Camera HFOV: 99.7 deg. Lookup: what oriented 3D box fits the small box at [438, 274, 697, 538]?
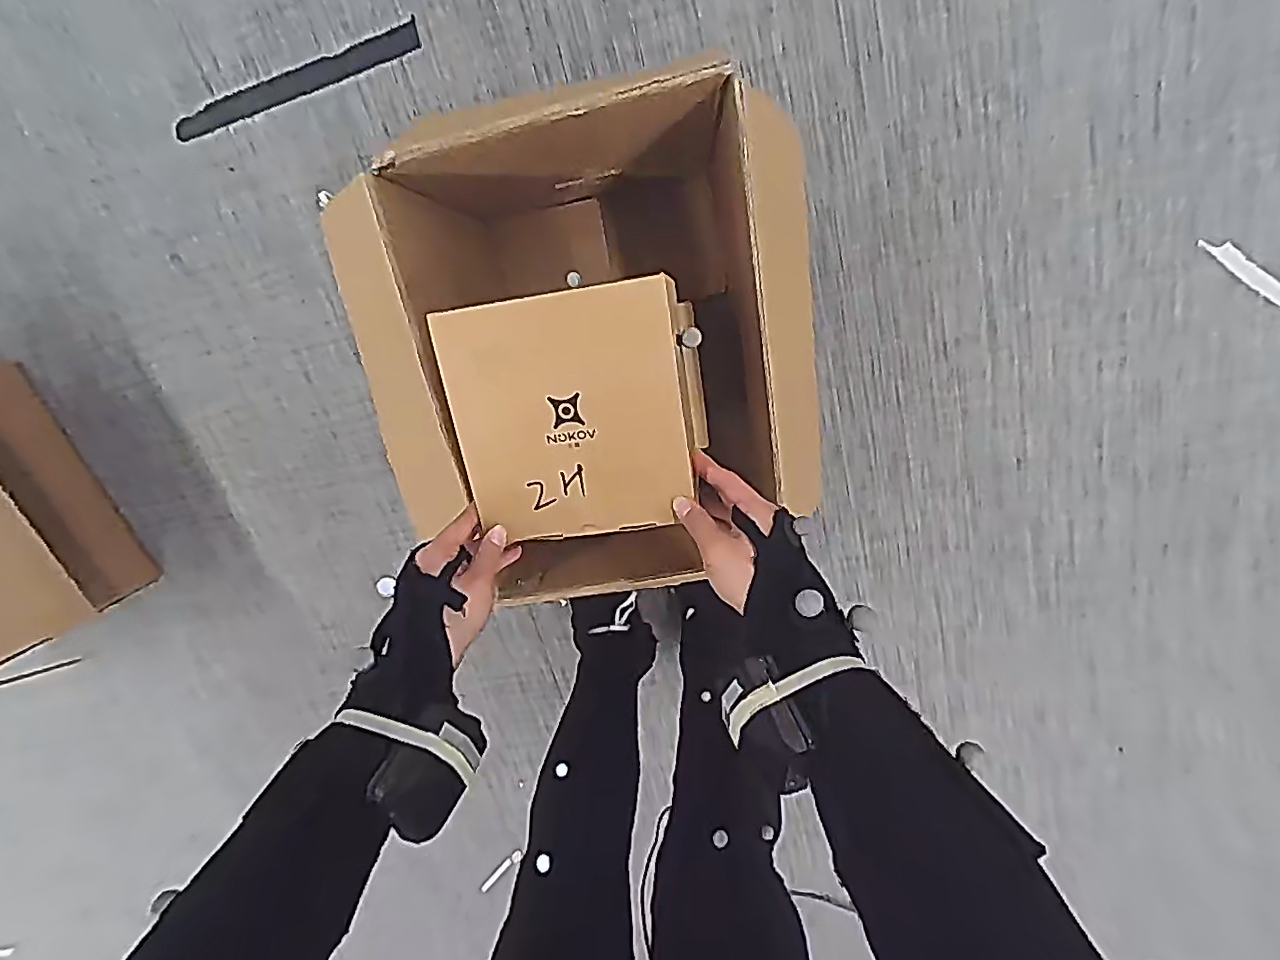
[{"bbox_3d":[-0.043,-0.069,0.466,0.168,0.176,0.179,-7,108,8],"label":"small box"}]
